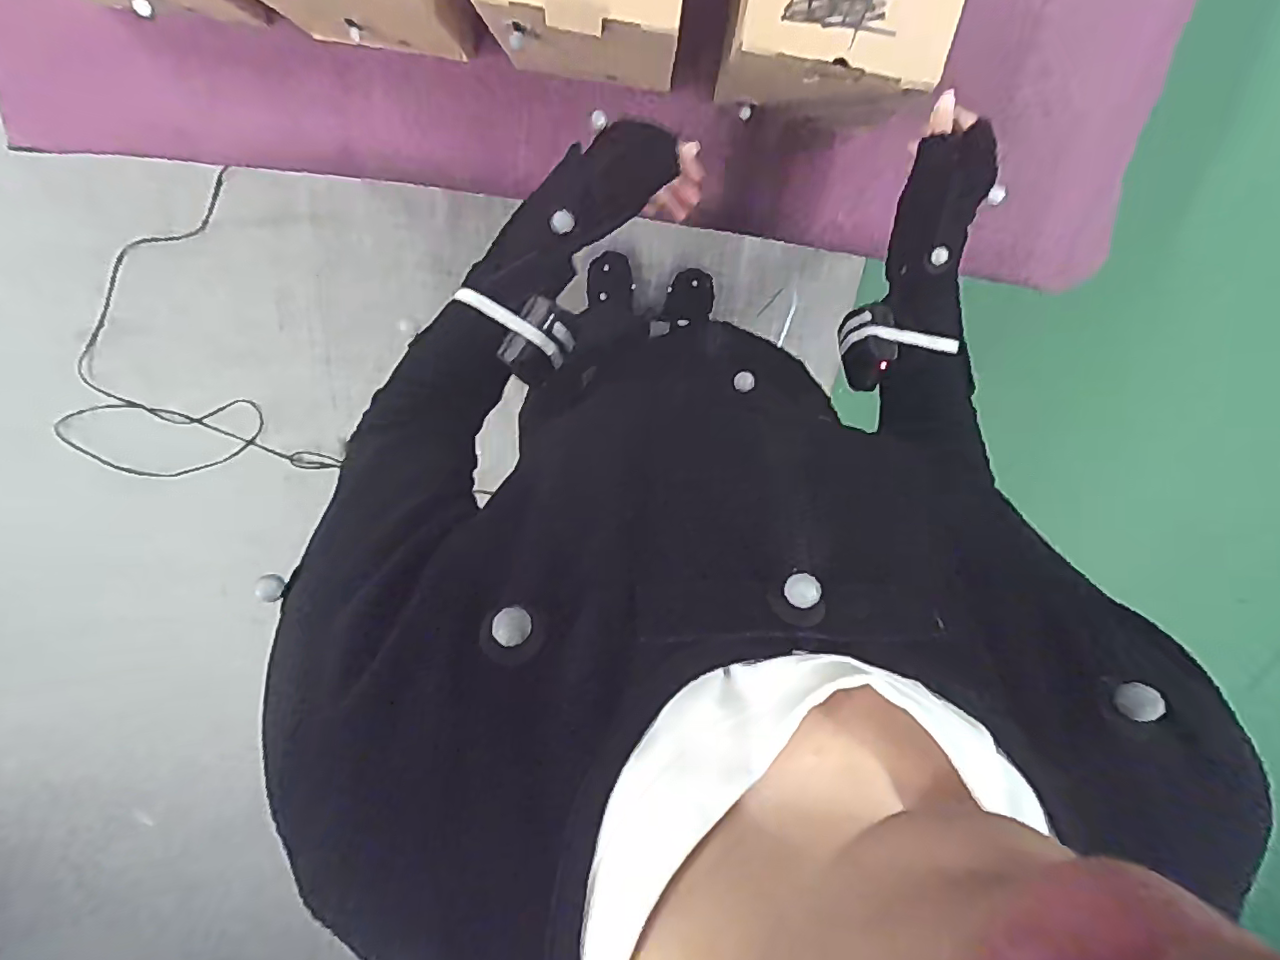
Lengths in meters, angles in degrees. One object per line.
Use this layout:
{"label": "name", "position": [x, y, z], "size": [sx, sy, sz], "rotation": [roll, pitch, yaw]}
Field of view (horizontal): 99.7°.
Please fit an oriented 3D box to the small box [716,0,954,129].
{"label": "small box", "position": [0.170, -0.440, 0.480], "size": [0.168, 0.176, 0.179], "rotation": [10, 110, -4]}
